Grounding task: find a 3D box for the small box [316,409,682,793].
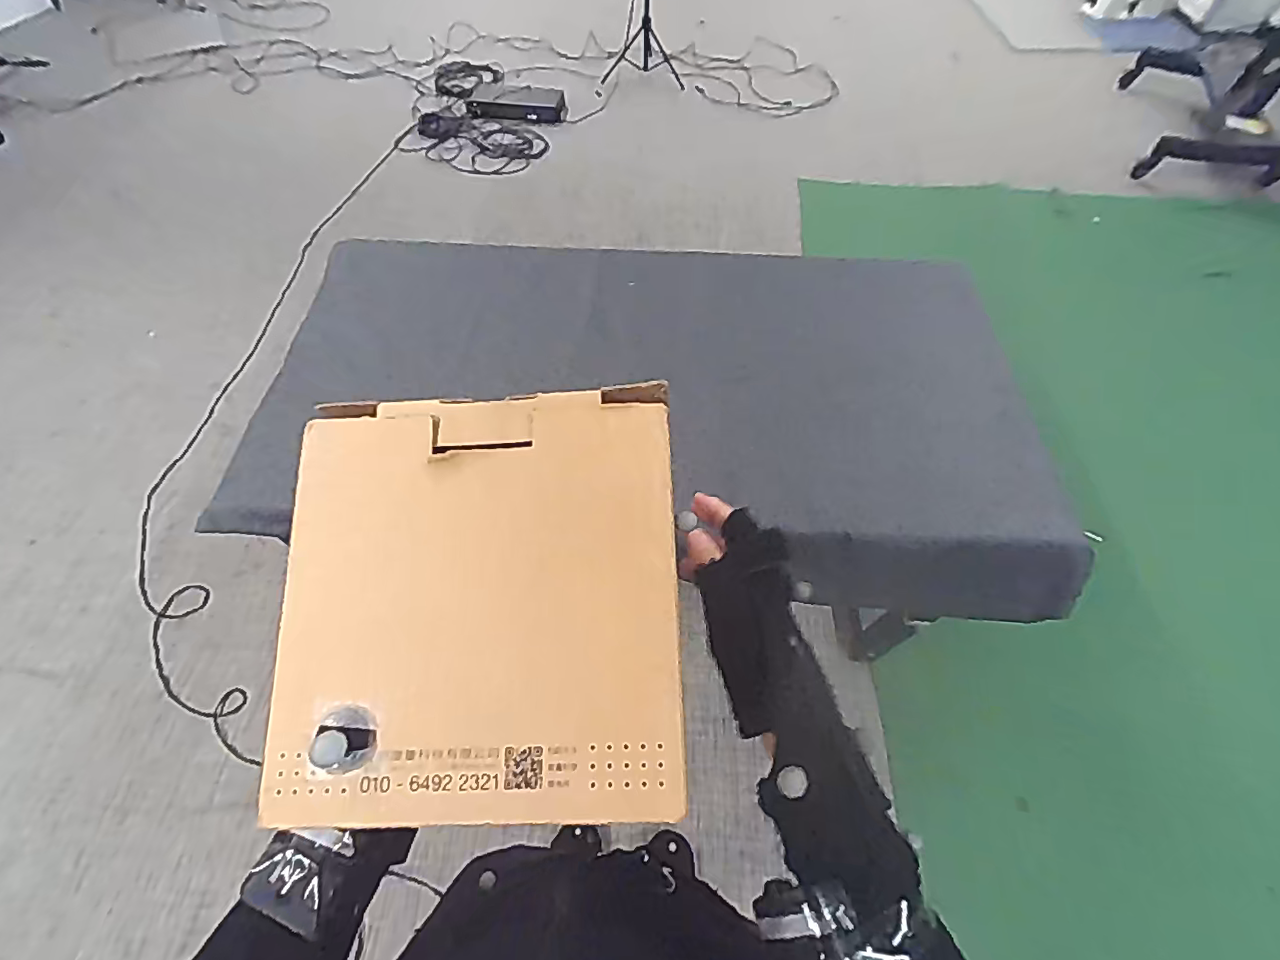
[{"bbox_3d":[-0.062,0.071,0.321,0.168,0.179,0.176,-2,75,3],"label":"small box"}]
